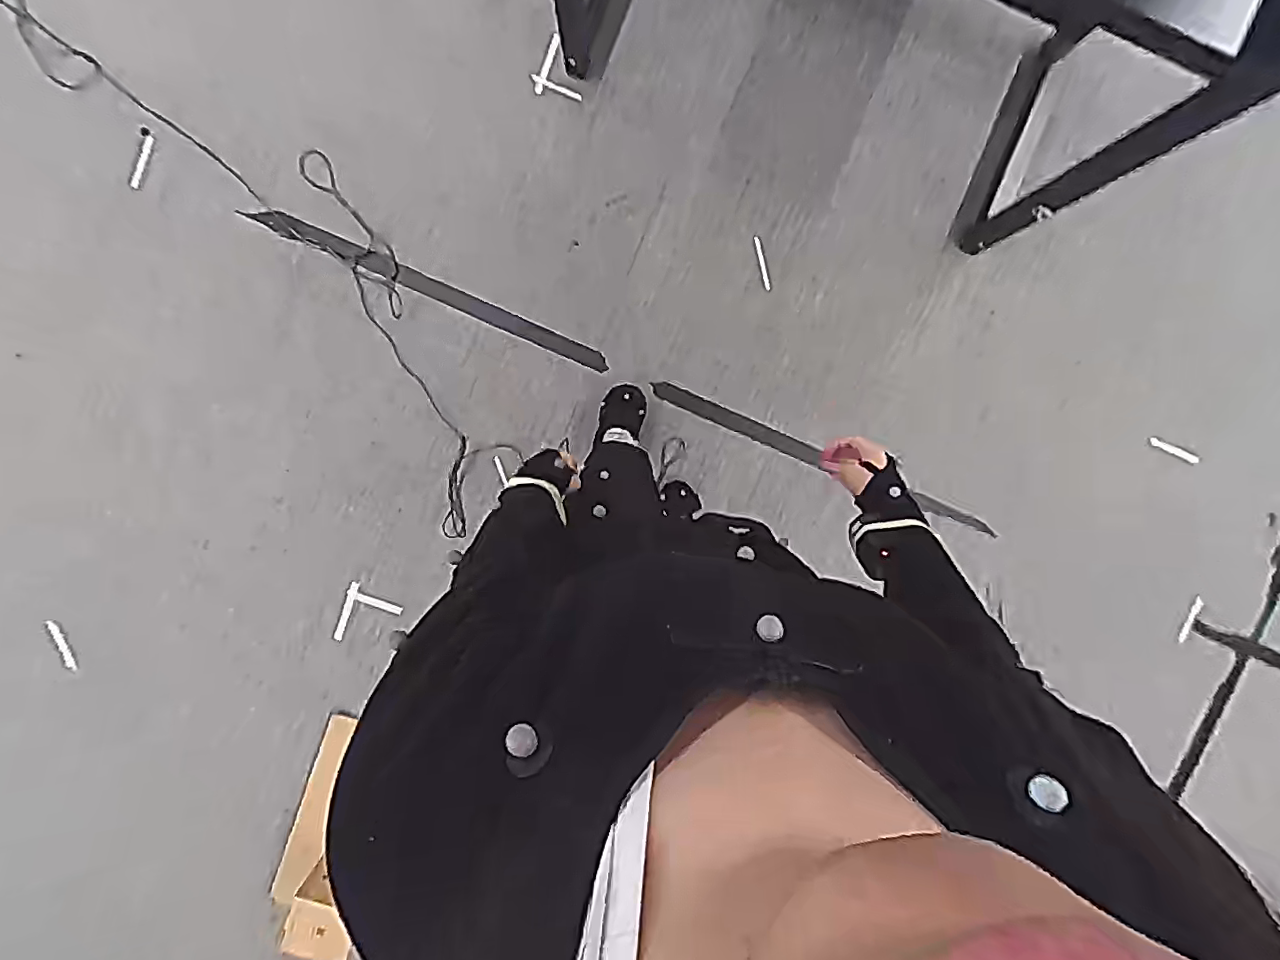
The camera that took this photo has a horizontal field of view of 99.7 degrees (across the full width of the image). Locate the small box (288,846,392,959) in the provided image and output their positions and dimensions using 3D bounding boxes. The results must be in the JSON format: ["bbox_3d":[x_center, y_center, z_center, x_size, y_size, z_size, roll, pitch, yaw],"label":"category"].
[{"bbox_3d":[-0.819,1.154,1.491,0.179,0.176,0.168,15,96,-4],"label":"small box"}]
